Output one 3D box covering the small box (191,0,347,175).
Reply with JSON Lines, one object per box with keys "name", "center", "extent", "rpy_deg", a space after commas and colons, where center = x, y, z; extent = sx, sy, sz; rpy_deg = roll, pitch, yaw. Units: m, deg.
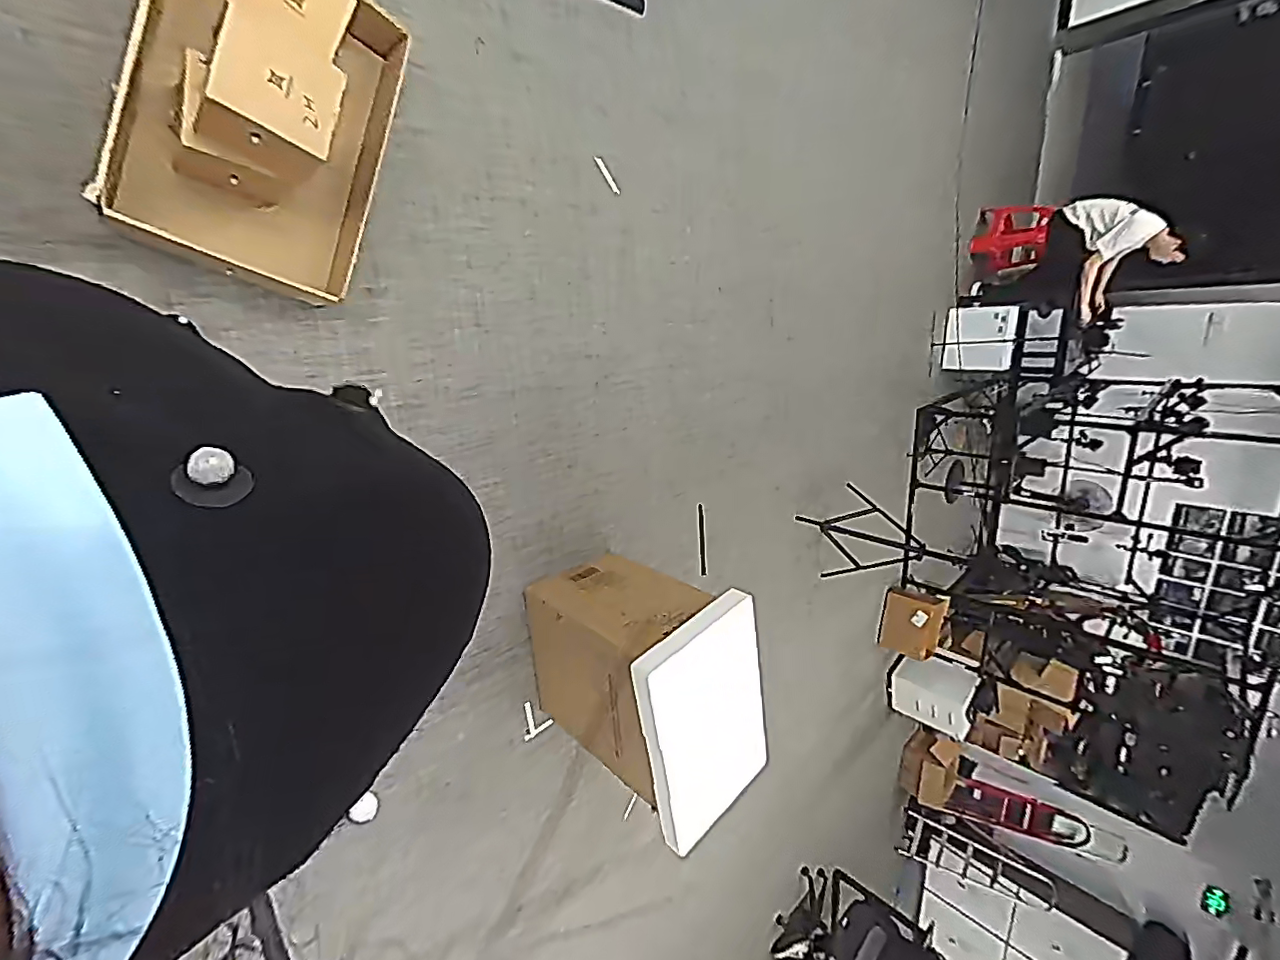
{"name": "small box", "center": [-0.648, -0.668, 0.941], "extent": [0.179, 0.176, 0.168], "rpy_deg": [16, 87, -46]}
